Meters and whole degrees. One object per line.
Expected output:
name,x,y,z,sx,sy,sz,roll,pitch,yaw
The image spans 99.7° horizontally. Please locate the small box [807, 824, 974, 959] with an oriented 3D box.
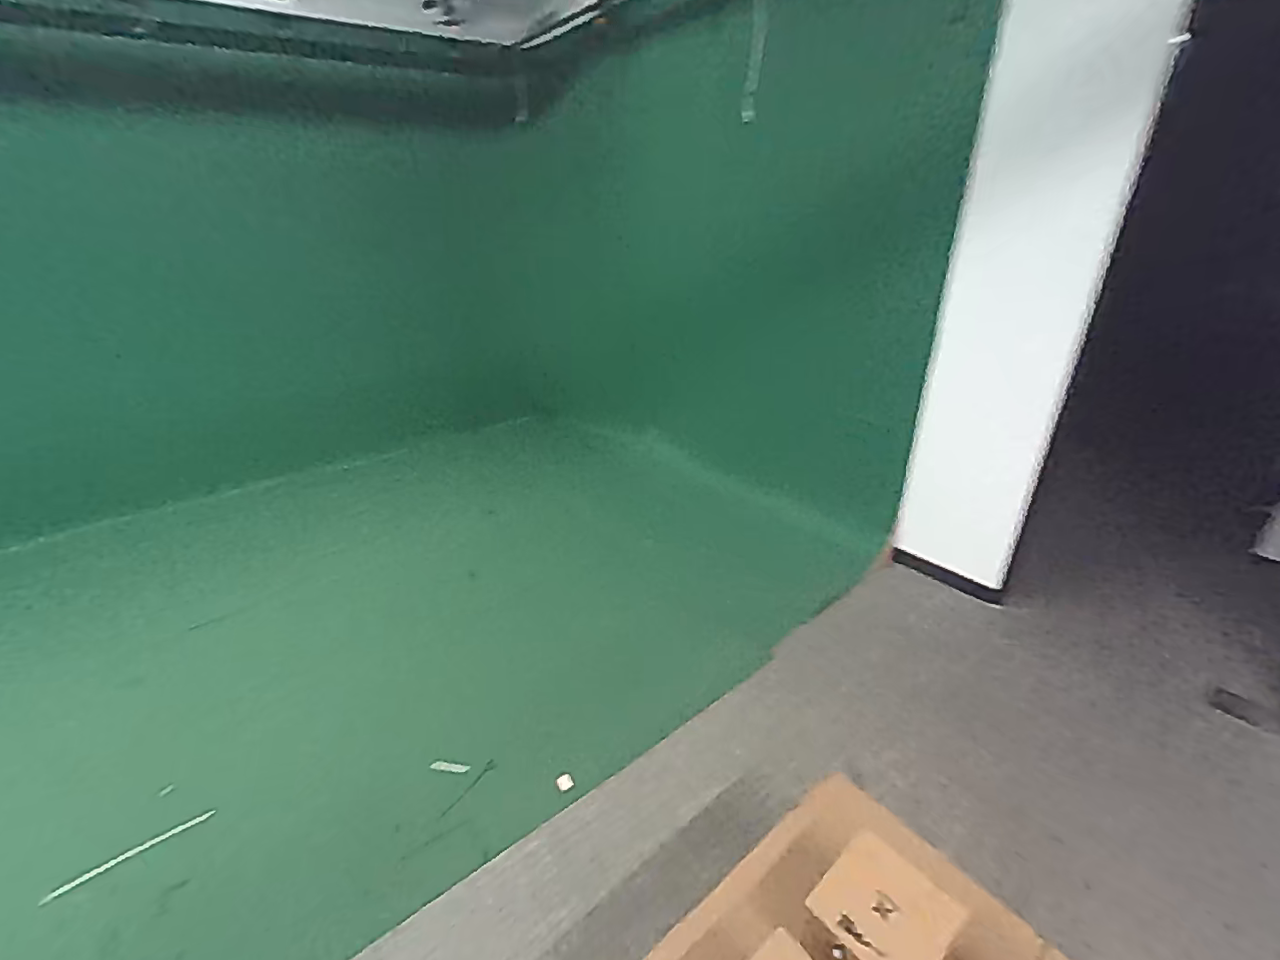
small box,0.372,0.692,0.828,0.179,0.176,0.168,-21,30,-34
